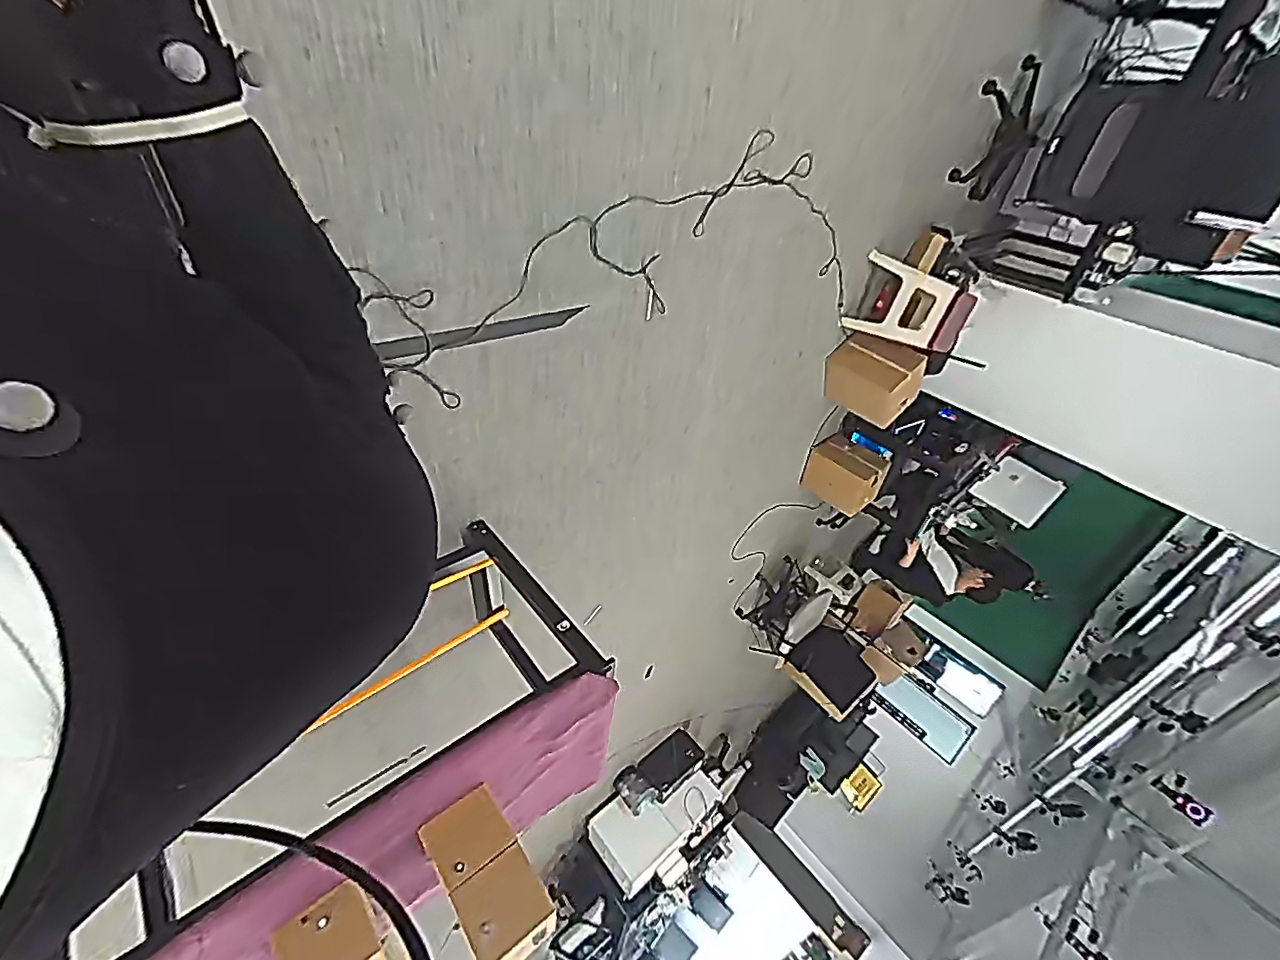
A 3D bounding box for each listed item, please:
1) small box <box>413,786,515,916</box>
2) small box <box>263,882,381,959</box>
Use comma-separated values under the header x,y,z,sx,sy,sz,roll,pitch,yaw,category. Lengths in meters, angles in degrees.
x,y,z,sx,sy,sz,roll,pitch,yaw,category
-0.424,0.891,1.314,0.179,0.176,0.168,-24,137,-34,small box
-0.658,1.001,1.136,0.168,0.176,0.179,-23,136,-36,small box
